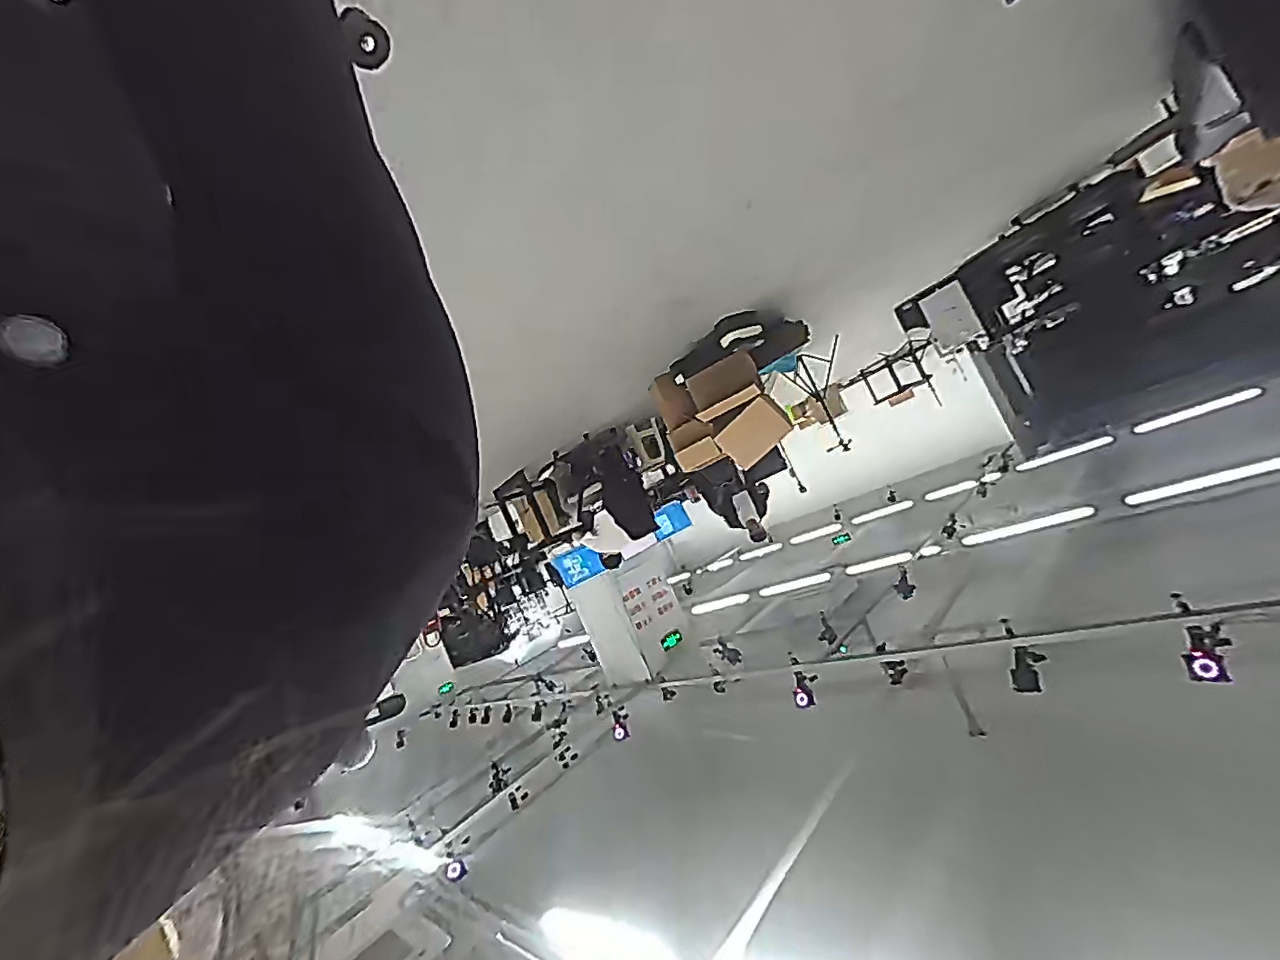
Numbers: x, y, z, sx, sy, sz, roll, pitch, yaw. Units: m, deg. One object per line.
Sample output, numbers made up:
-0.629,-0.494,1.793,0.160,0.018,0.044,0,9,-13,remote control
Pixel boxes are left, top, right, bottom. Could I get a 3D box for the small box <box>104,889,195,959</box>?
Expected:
-1.560,1.459,1.721,0.179,0.176,0.168,-23,174,-40,small box
